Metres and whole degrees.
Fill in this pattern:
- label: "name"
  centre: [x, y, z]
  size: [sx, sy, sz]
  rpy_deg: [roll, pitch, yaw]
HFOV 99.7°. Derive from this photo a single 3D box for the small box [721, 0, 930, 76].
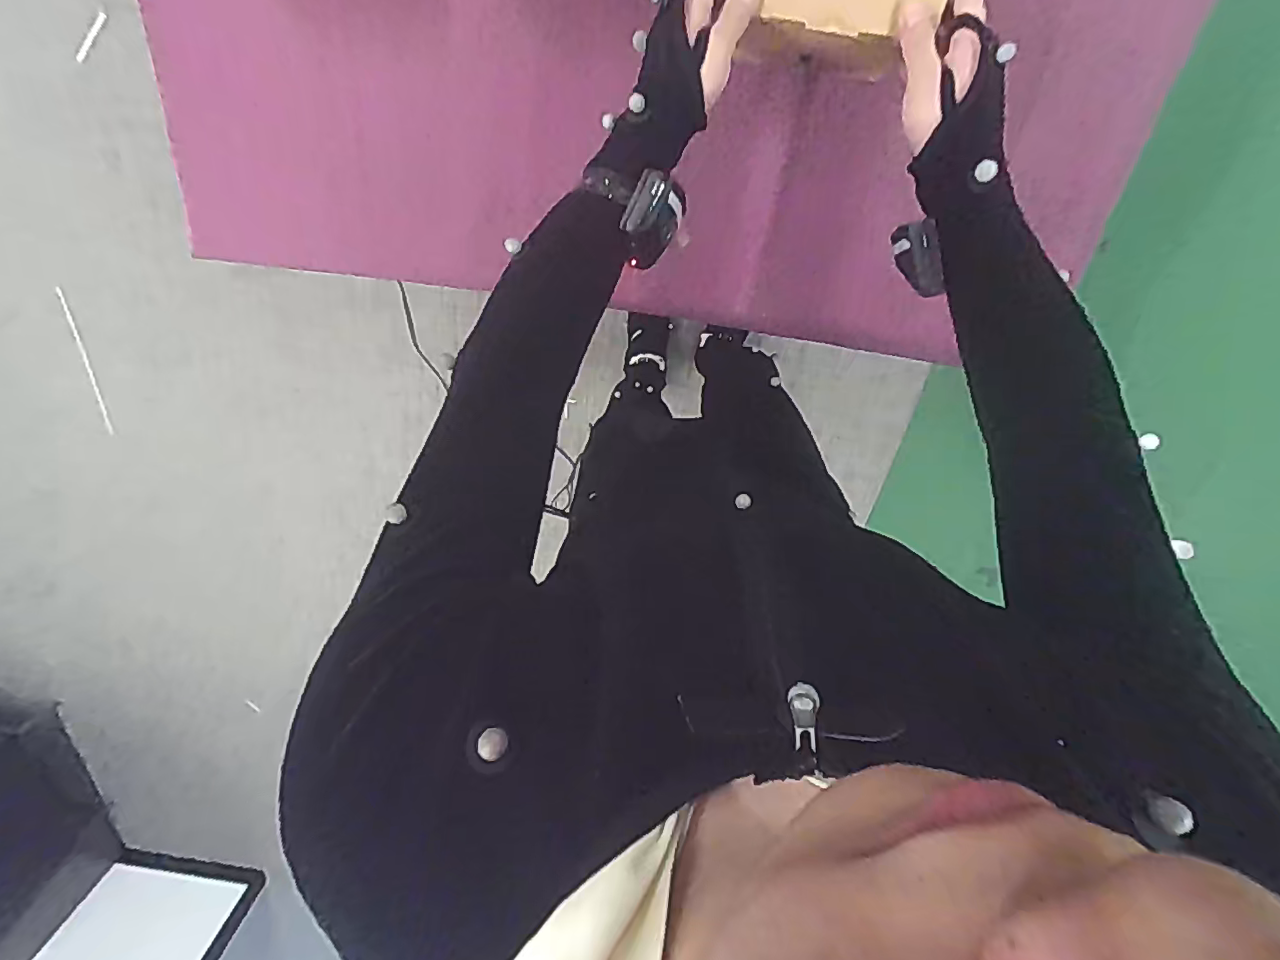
- label: "small box"
  centre: [0.167, -0.482, 0.468]
  size: [0.168, 0.176, 0.179]
  rpy_deg: [11, 120, 2]
